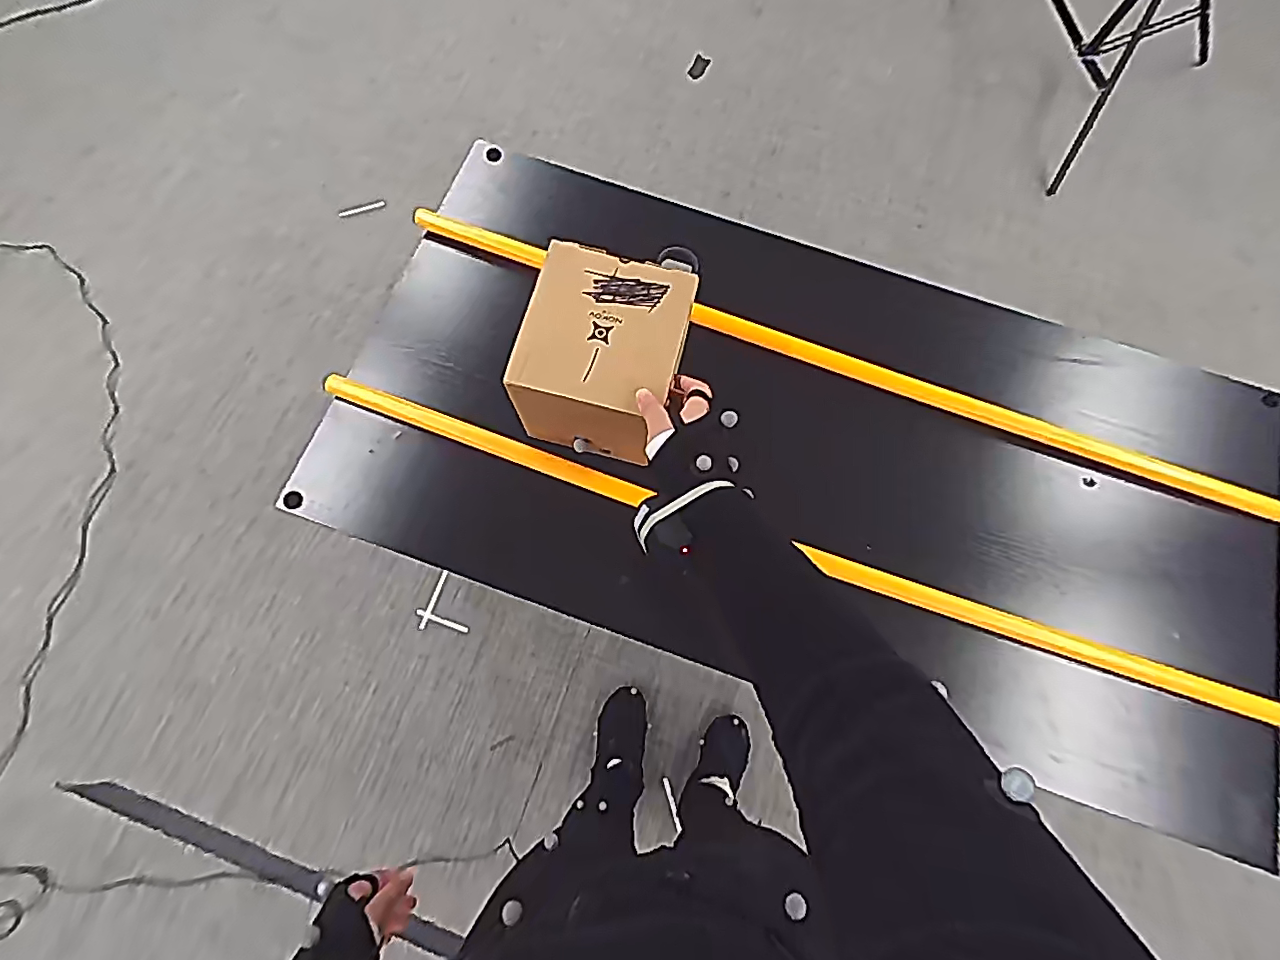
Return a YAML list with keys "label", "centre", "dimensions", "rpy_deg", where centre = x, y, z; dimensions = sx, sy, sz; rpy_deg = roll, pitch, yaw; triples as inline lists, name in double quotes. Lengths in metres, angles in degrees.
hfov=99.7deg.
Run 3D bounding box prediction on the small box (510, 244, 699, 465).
- label: "small box"
  centre: [-0.038, -0.138, 0.645]
  dimensions: [0.168, 0.176, 0.179]
  rpy_deg: [14, 75, 2]
